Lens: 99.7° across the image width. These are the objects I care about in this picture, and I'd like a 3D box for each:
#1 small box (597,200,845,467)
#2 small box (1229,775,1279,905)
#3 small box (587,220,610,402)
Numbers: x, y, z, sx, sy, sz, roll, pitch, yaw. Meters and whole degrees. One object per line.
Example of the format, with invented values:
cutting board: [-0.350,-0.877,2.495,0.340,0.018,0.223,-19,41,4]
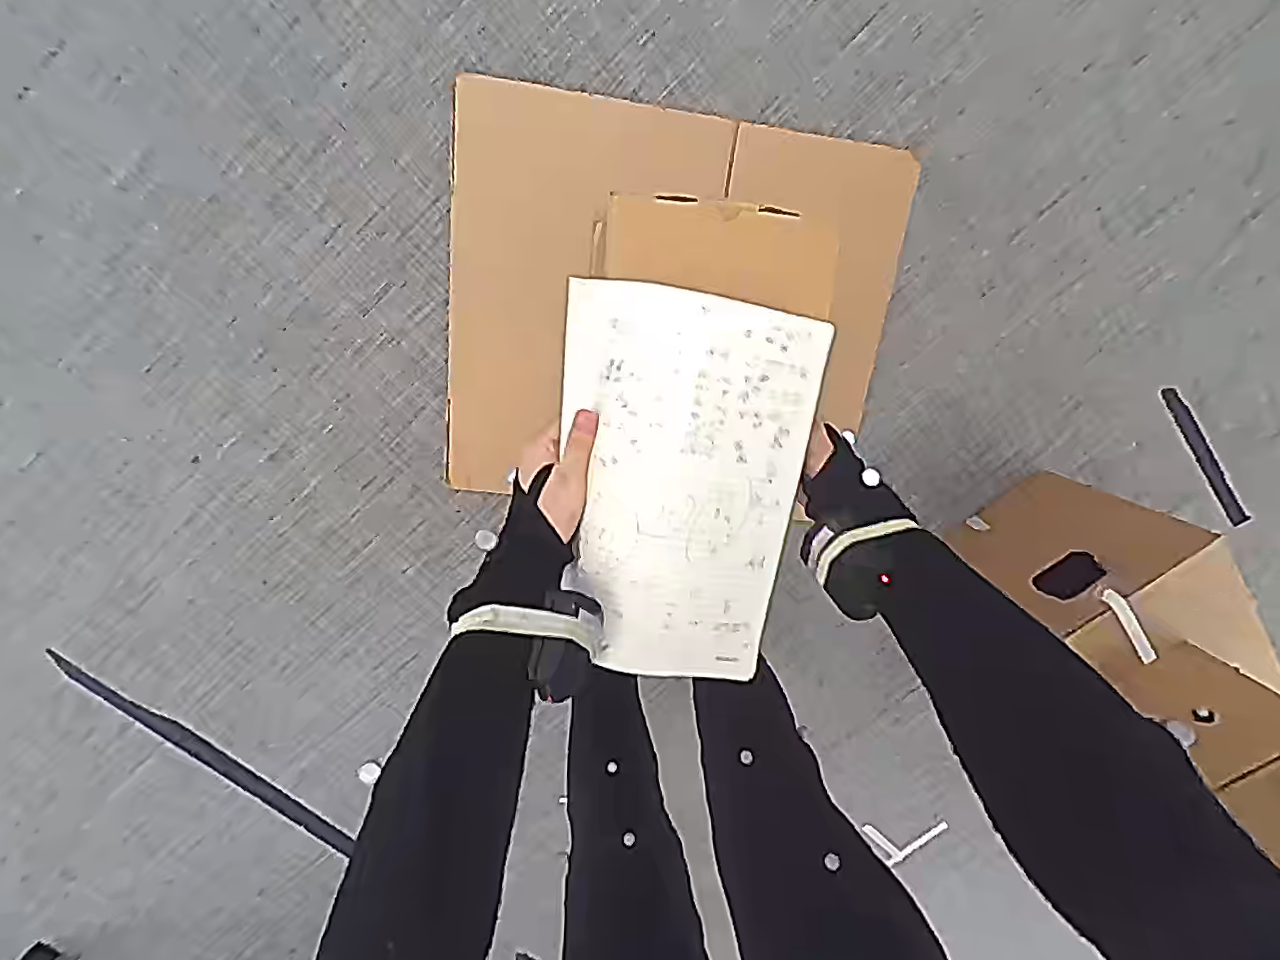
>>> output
small box: [0.050,-0.113,0.463,0.168,0.176,0.179,2,99,-7]
small box: [0.771,0.409,0.549,0.179,0.176,0.168,-38,106,9]
small box: [0.026,-0.184,0.621,0.168,0.176,0.179,2,107,-7]
